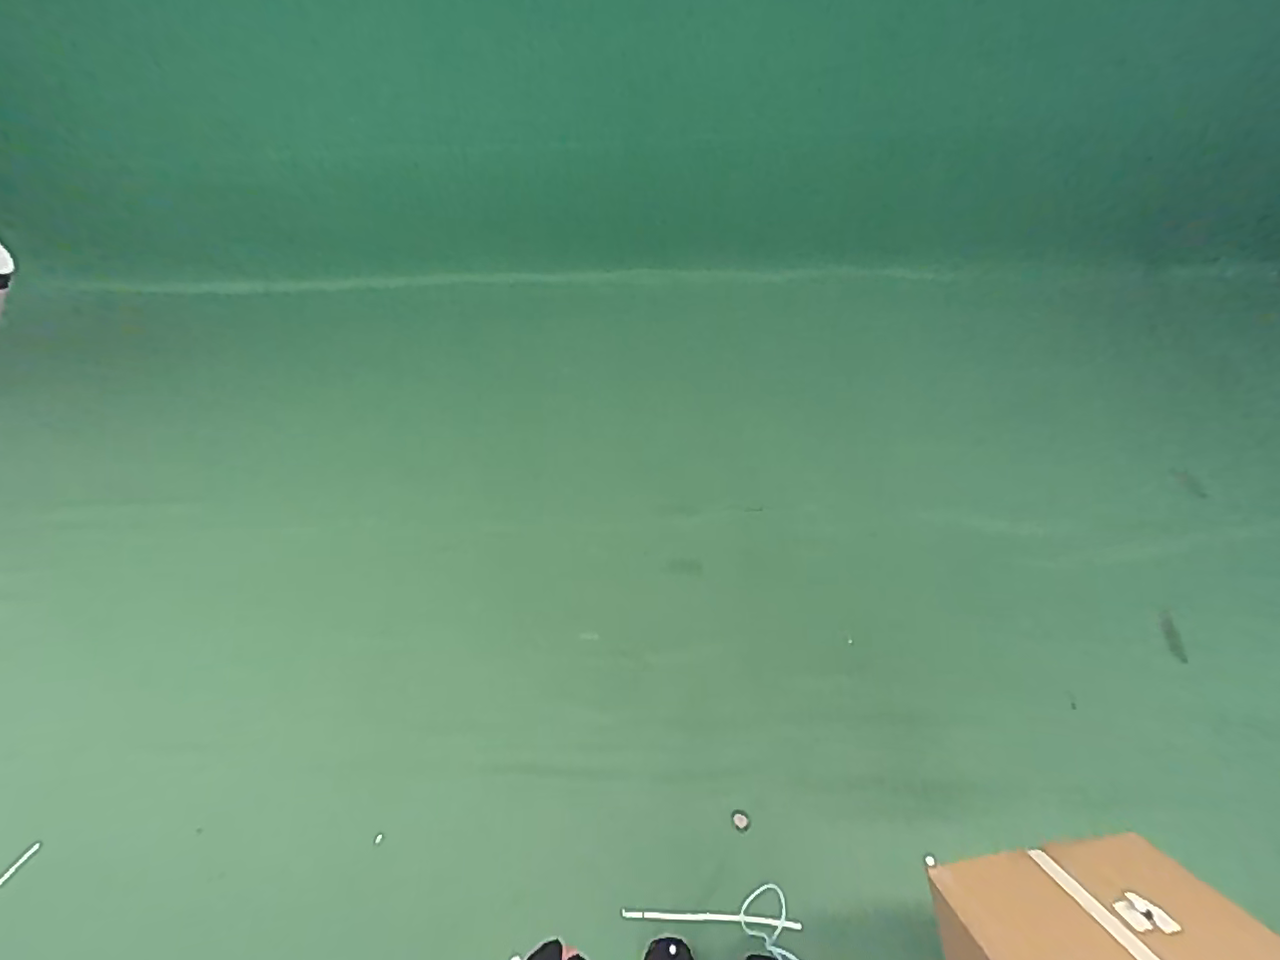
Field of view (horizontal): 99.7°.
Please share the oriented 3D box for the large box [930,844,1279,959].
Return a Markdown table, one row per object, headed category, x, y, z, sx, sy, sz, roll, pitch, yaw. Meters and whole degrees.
| category | x | y | z | sx | sy | sz | roll | pitch | yaw |
| --- | --- | --- | --- | --- | --- | --- | --- | --- | --- |
| large box | 0.604 | 0.707 | 0.597 | 0.320 | 0.408 | 0.320 | -10 | 88 | 1 |
